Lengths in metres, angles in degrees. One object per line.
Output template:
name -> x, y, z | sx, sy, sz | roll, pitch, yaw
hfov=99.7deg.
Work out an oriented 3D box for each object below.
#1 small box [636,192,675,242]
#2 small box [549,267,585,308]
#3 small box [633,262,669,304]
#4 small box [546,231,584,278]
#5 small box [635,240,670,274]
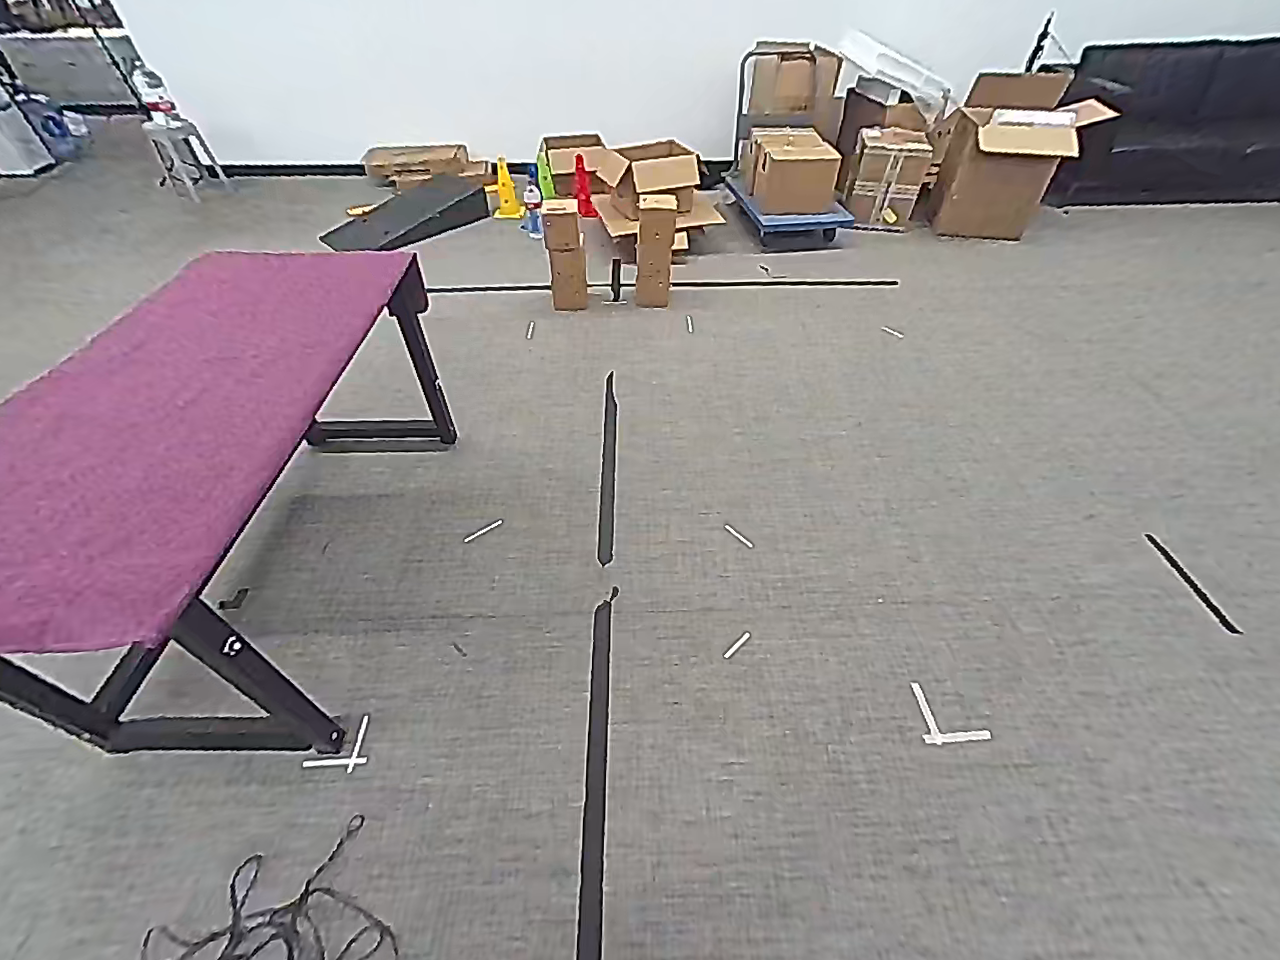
small box -> 0.073, -1.270, 2.618 | 0.179, 0.176, 0.168 | 2, 48, -1
small box -> -0.377, -1.014, 2.822 | 0.179, 0.176, 0.168 | -4, 46, -2
small box -> 0.058, -1.044, 2.853 | 0.179, 0.176, 0.168 | 3, 46, 1
small box -> -0.371, -1.127, 2.703 | 0.168, 0.176, 0.179 | -1, 45, -1
small box -> 0.059, -1.165, 2.743 | 0.168, 0.176, 0.179 | 0, 47, -2
